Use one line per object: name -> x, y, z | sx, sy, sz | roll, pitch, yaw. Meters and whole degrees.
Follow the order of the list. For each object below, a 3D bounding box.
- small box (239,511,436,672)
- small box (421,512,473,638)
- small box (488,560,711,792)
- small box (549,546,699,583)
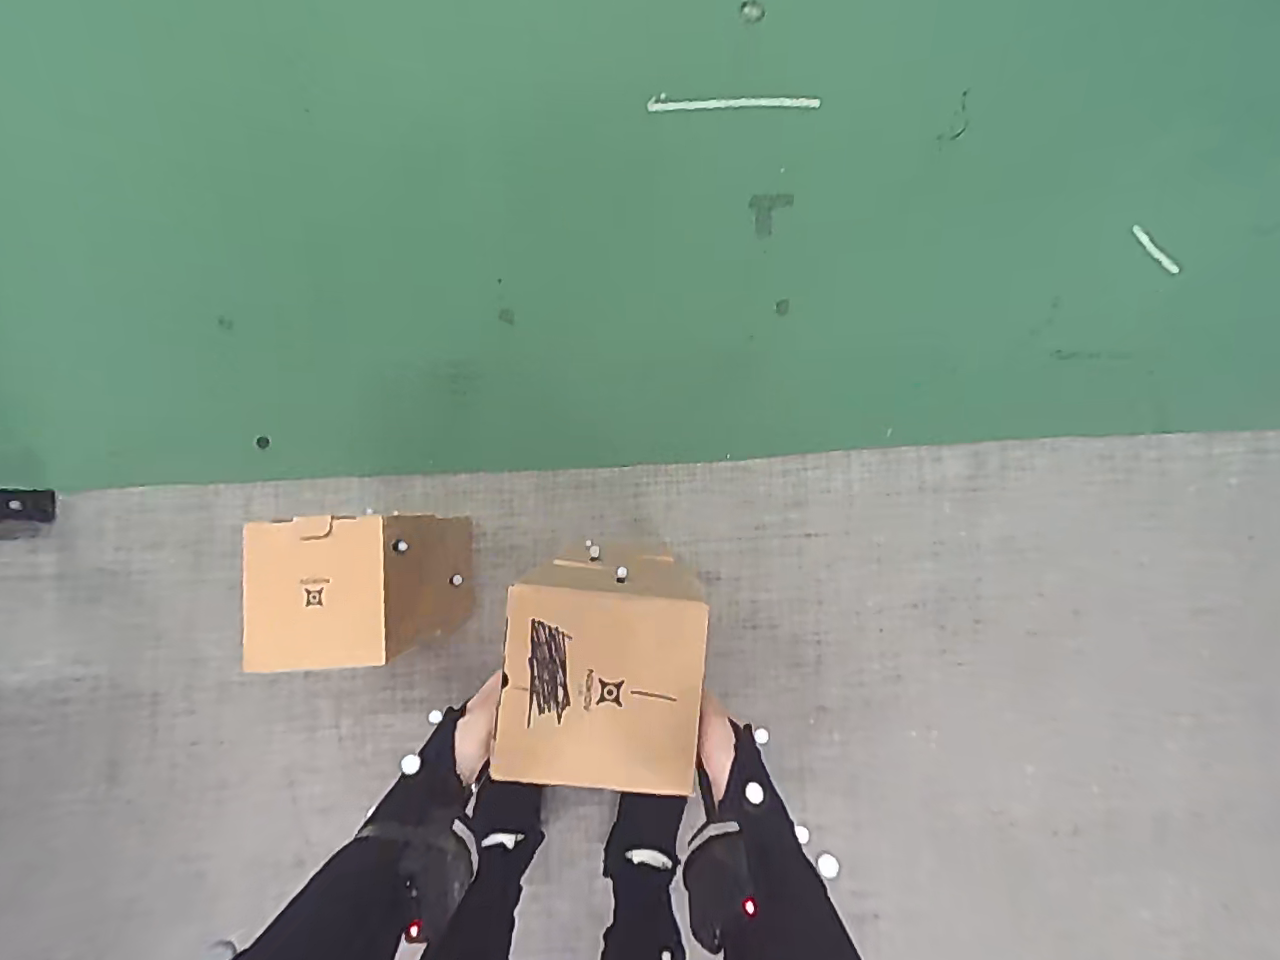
small box -> -0.374, 0.132, 0.697 | 0.168, 0.176, 0.179 | -4, 86, 0
small box -> -0.374, 0.147, 0.859 | 0.168, 0.176, 0.179 | -5, 88, -1
small box -> -0.034, 0.174, 0.533 | 0.179, 0.176, 0.168 | 5, 88, -1
small box -> -0.029, 0.180, 0.696 | 0.179, 0.176, 0.168 | 8, 88, -1
